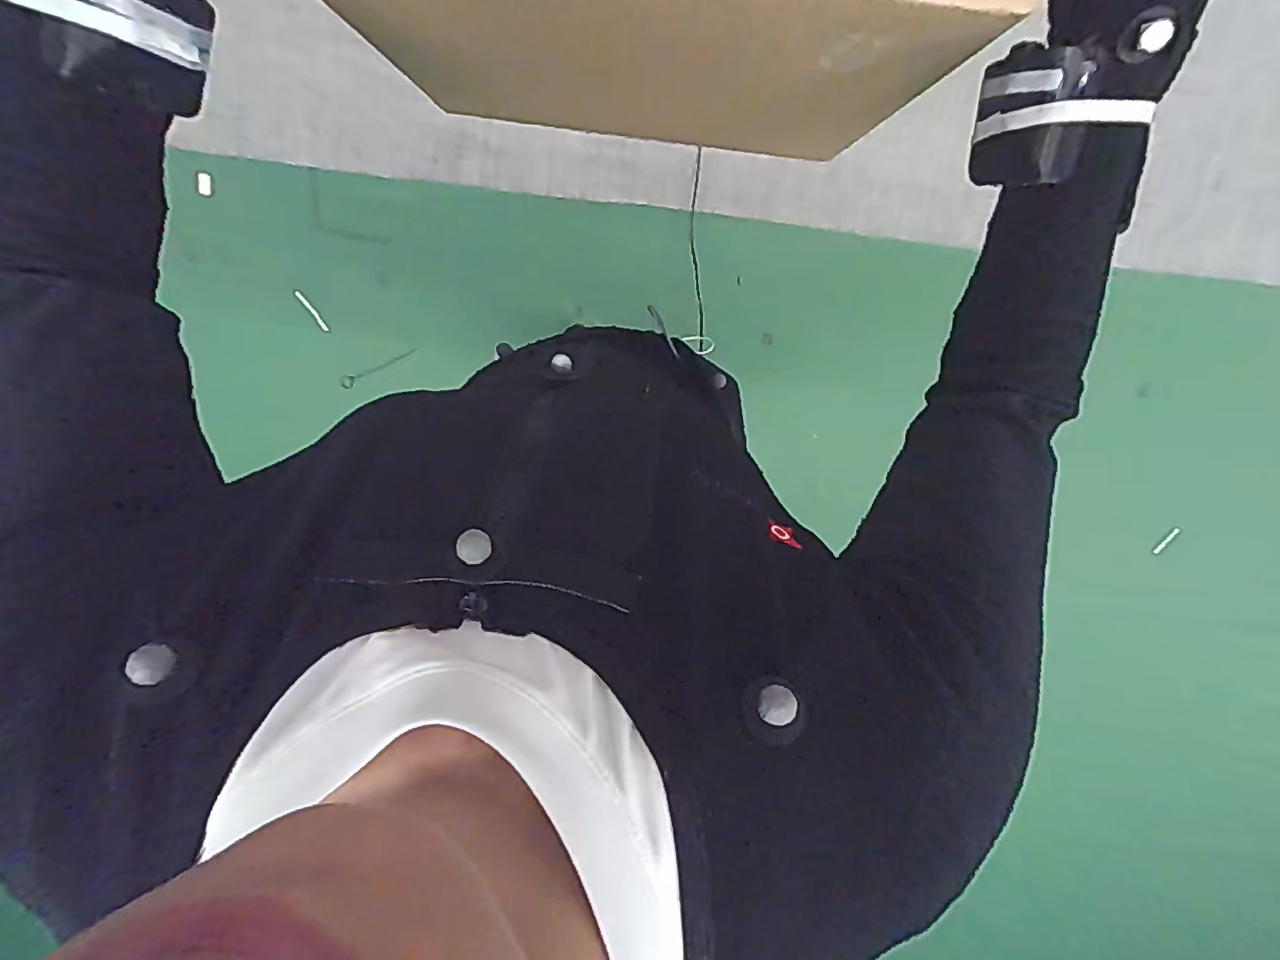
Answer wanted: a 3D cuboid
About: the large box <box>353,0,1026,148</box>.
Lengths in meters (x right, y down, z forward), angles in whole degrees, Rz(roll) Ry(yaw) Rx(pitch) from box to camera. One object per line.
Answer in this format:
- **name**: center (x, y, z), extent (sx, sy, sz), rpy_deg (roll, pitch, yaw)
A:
- **large box**: center (0.020, -0.454, 0.368), extent (0.408, 0.320, 0.320), rpy_deg (5, 110, -2)
